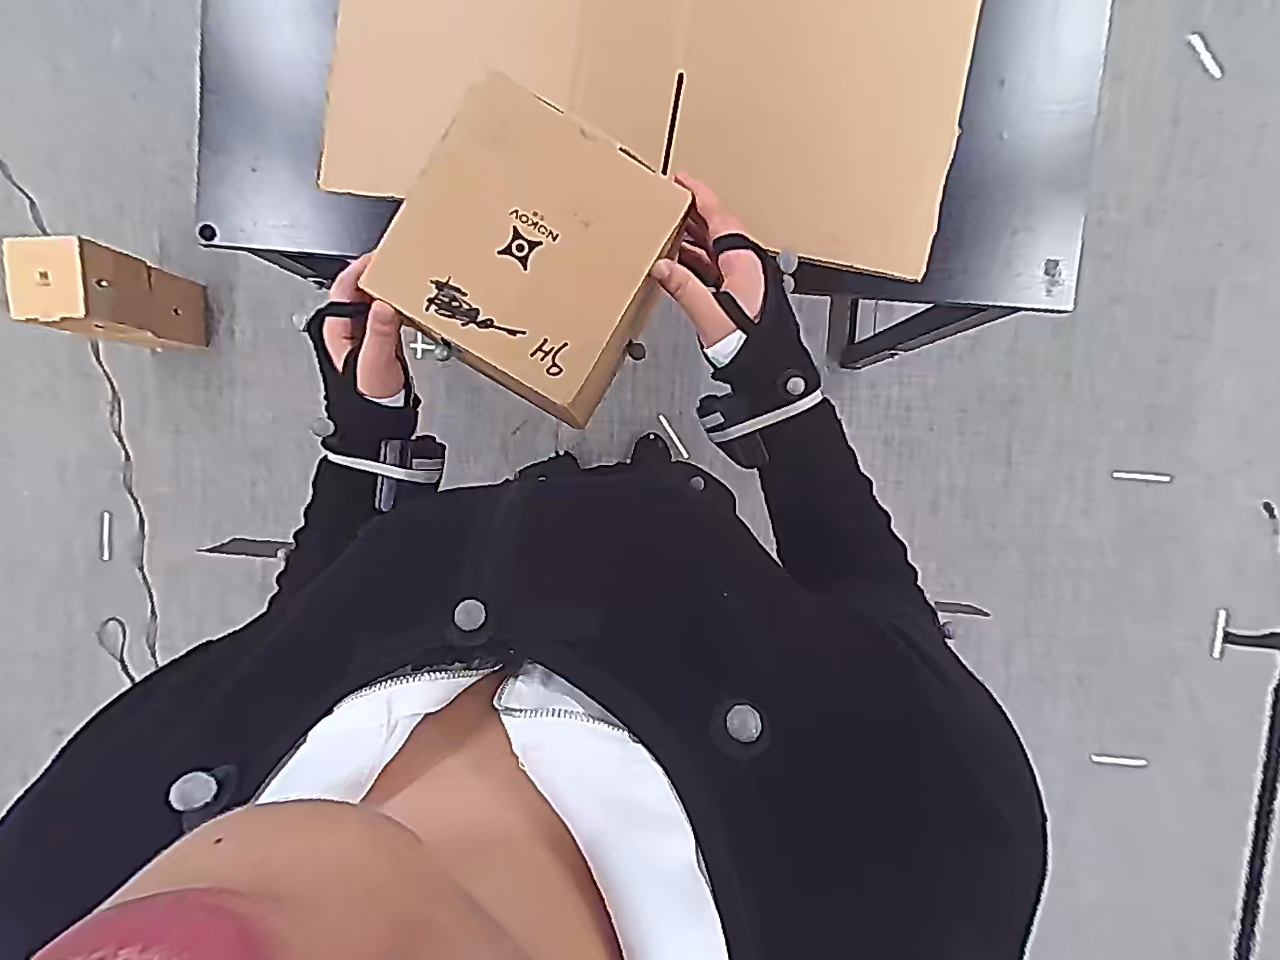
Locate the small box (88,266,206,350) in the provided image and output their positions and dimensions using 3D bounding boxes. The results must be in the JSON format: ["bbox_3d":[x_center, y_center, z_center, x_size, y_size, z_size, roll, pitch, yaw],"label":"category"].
[{"bbox_3d":[-1.271,-0.442,1.399,0.168,0.176,0.179,1,94,1],"label":"small box"}]

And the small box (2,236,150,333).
[{"bbox_3d":[-1.275,-0.437,1.236,0.168,0.176,0.179,-2,93,0],"label":"small box"}]
